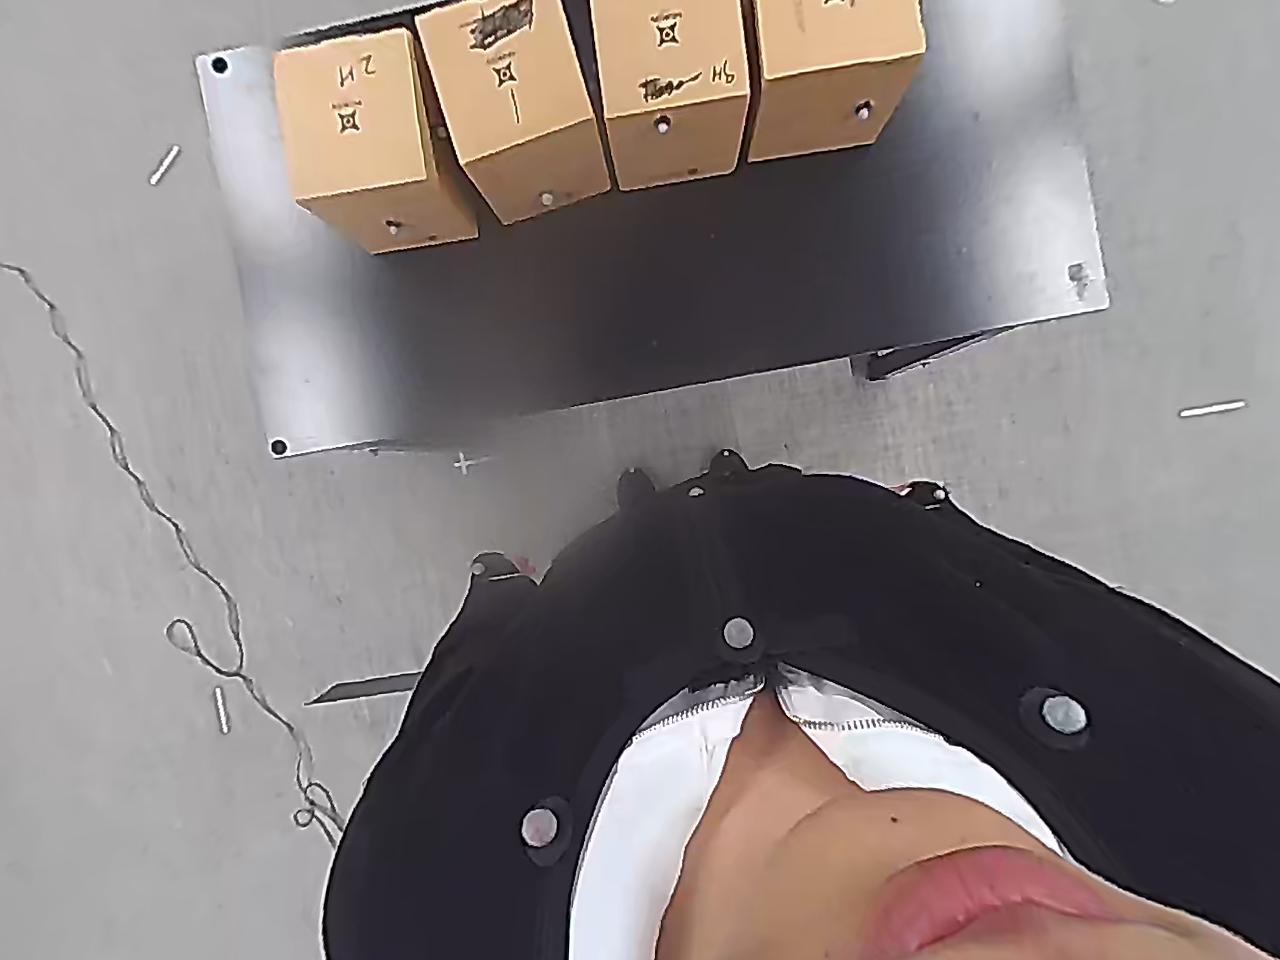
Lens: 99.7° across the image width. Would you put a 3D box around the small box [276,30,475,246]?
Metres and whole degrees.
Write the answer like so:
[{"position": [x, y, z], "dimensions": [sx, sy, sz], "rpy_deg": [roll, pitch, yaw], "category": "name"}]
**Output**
[{"position": [-0.329, -0.425, 0.708], "dimensions": [0.168, 0.176, 0.179], "rpy_deg": [-7, 91, 4], "category": "small box"}]
